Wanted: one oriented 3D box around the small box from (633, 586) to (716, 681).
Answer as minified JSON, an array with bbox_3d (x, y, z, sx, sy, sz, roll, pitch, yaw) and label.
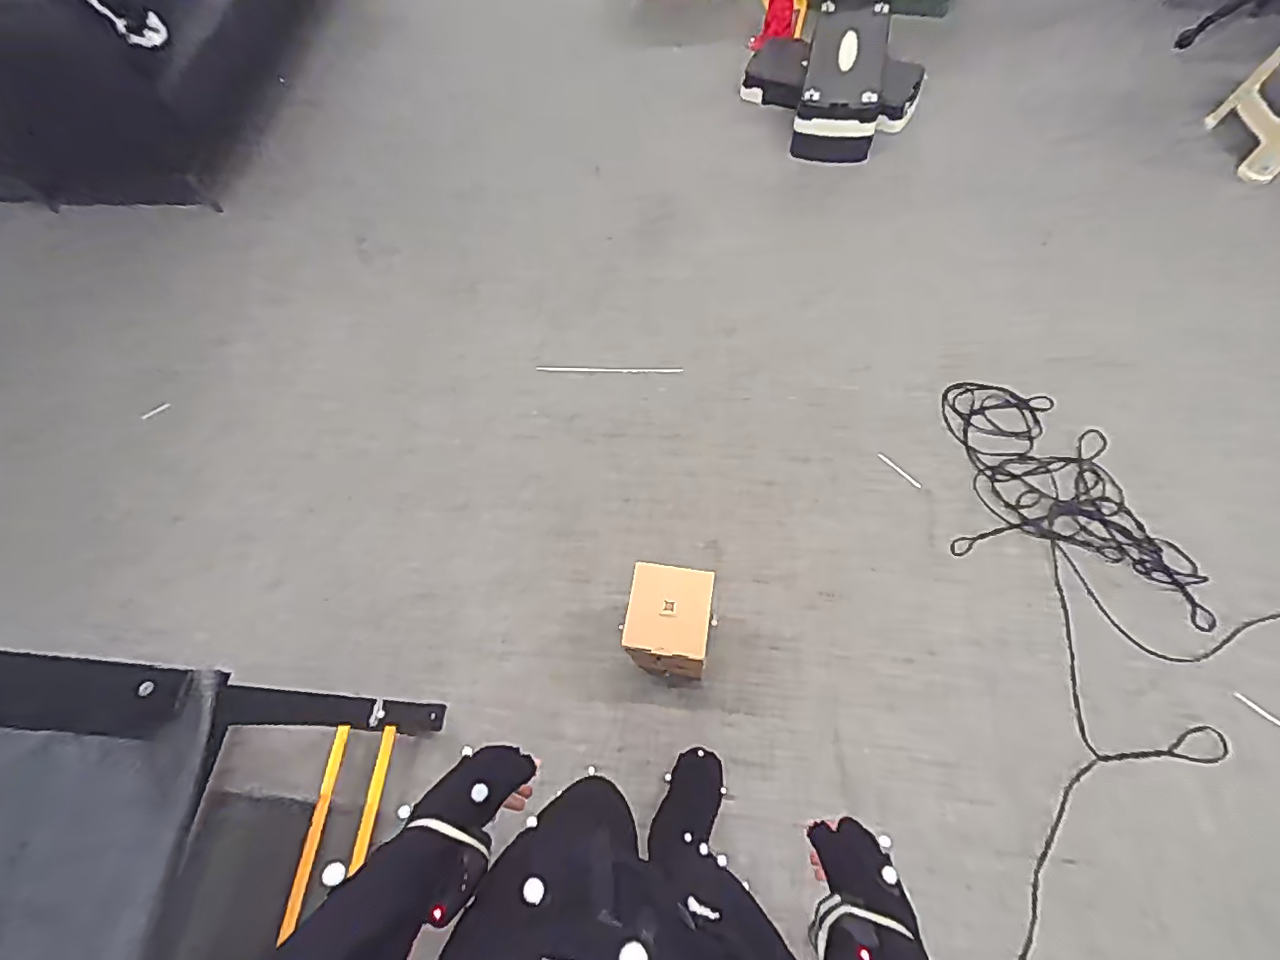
[{"bbox_3d":[0.086,0.371,1.297,0.168,0.176,0.179,8,66,11],"label":"small box"}]
